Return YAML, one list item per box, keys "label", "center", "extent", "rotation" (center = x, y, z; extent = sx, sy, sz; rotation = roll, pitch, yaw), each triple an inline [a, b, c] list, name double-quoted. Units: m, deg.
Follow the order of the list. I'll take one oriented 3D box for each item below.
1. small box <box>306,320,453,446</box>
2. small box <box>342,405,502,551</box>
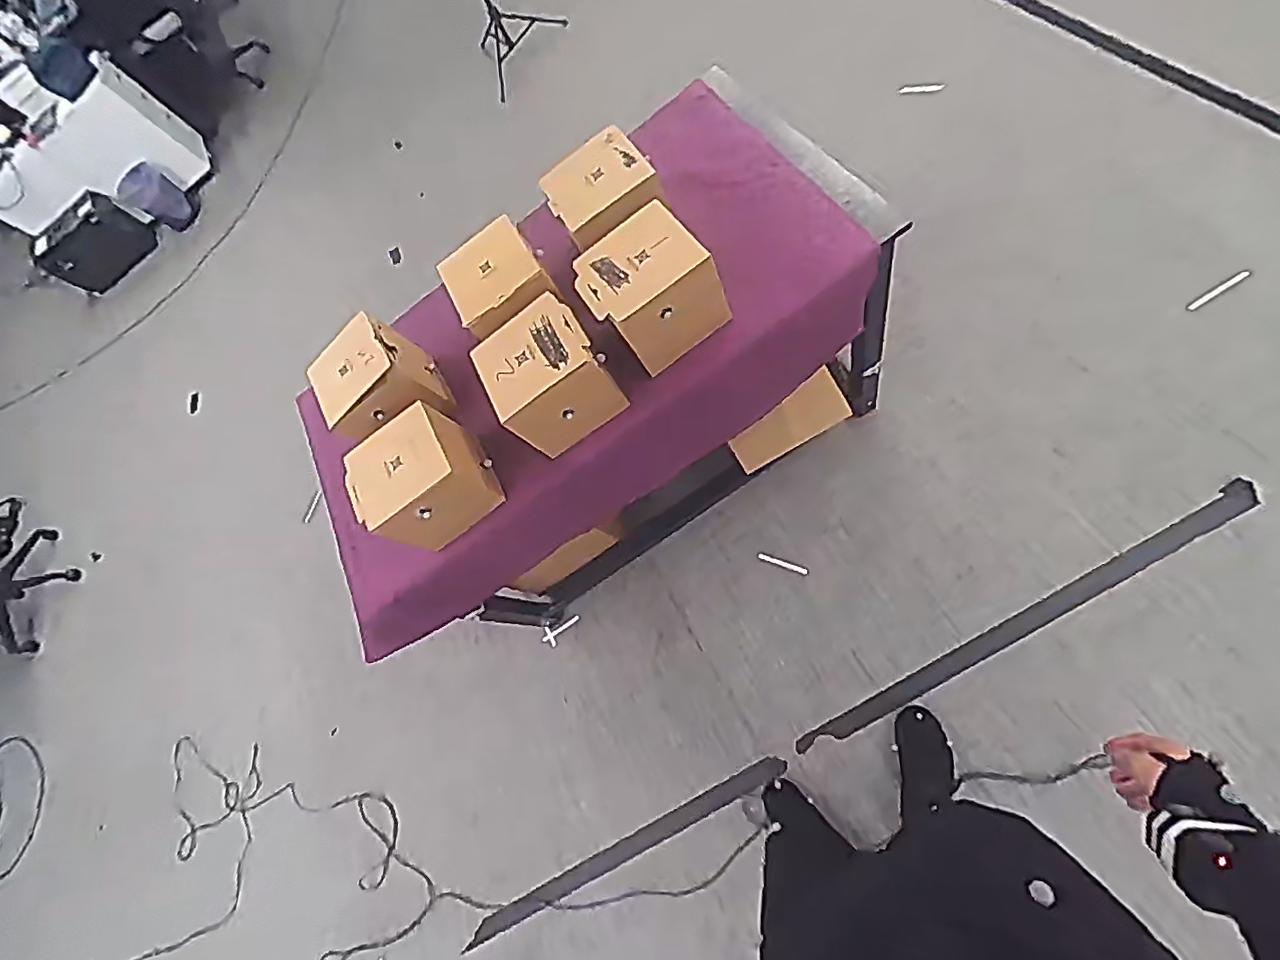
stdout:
- label: "small box"
  center: [-0.509, -0.169, 1.067]
  extent: [0.179, 0.176, 0.168]
  rotation: [-37, 64, 5]
- label: "small box"
  center: [-0.381, 0.007, 0.961]
  extent: [0.179, 0.176, 0.168]
  rotation: [-36, 64, 6]
